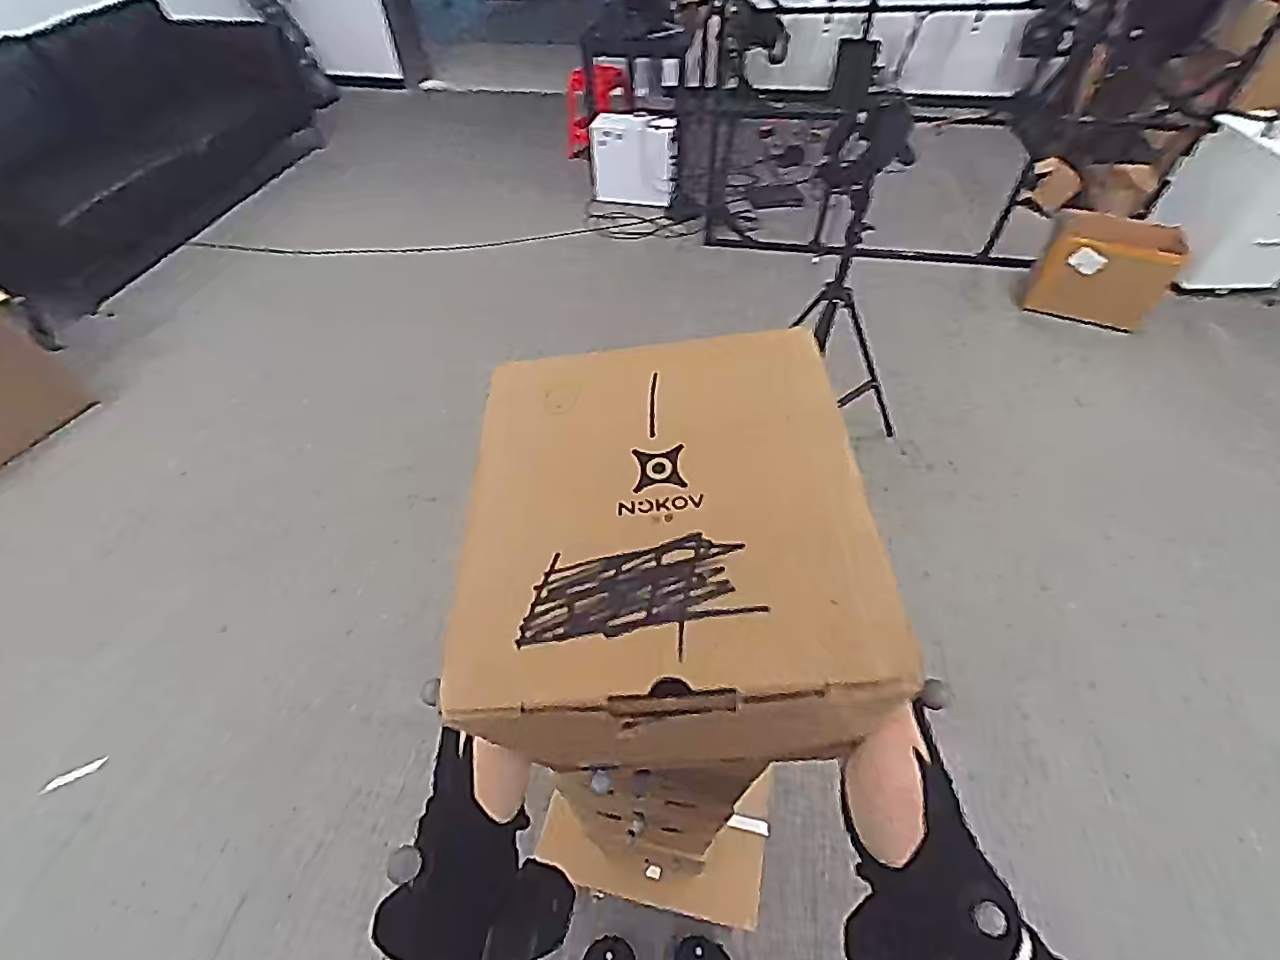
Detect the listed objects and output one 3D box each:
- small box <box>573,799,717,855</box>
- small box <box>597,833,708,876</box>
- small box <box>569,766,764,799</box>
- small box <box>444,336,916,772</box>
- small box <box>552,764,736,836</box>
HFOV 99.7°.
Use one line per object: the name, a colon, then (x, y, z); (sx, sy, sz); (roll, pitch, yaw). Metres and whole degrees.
small box: (0.020, 0.364, 0.705); (0.168, 0.176, 0.179); (8, 52, 8)
small box: (0.034, 0.580, 0.950); (0.179, 0.176, 0.168); (8, 52, 7)
small box: (0.015, 0.152, 0.455); (0.168, 0.176, 0.179); (6, 53, 6)
small box: (0.019, 0.053, 0.293); (0.168, 0.176, 0.179); (-6, 56, 5)
small box: (0.016, 0.258, 0.580); (0.168, 0.176, 0.179); (7, 53, 7)
